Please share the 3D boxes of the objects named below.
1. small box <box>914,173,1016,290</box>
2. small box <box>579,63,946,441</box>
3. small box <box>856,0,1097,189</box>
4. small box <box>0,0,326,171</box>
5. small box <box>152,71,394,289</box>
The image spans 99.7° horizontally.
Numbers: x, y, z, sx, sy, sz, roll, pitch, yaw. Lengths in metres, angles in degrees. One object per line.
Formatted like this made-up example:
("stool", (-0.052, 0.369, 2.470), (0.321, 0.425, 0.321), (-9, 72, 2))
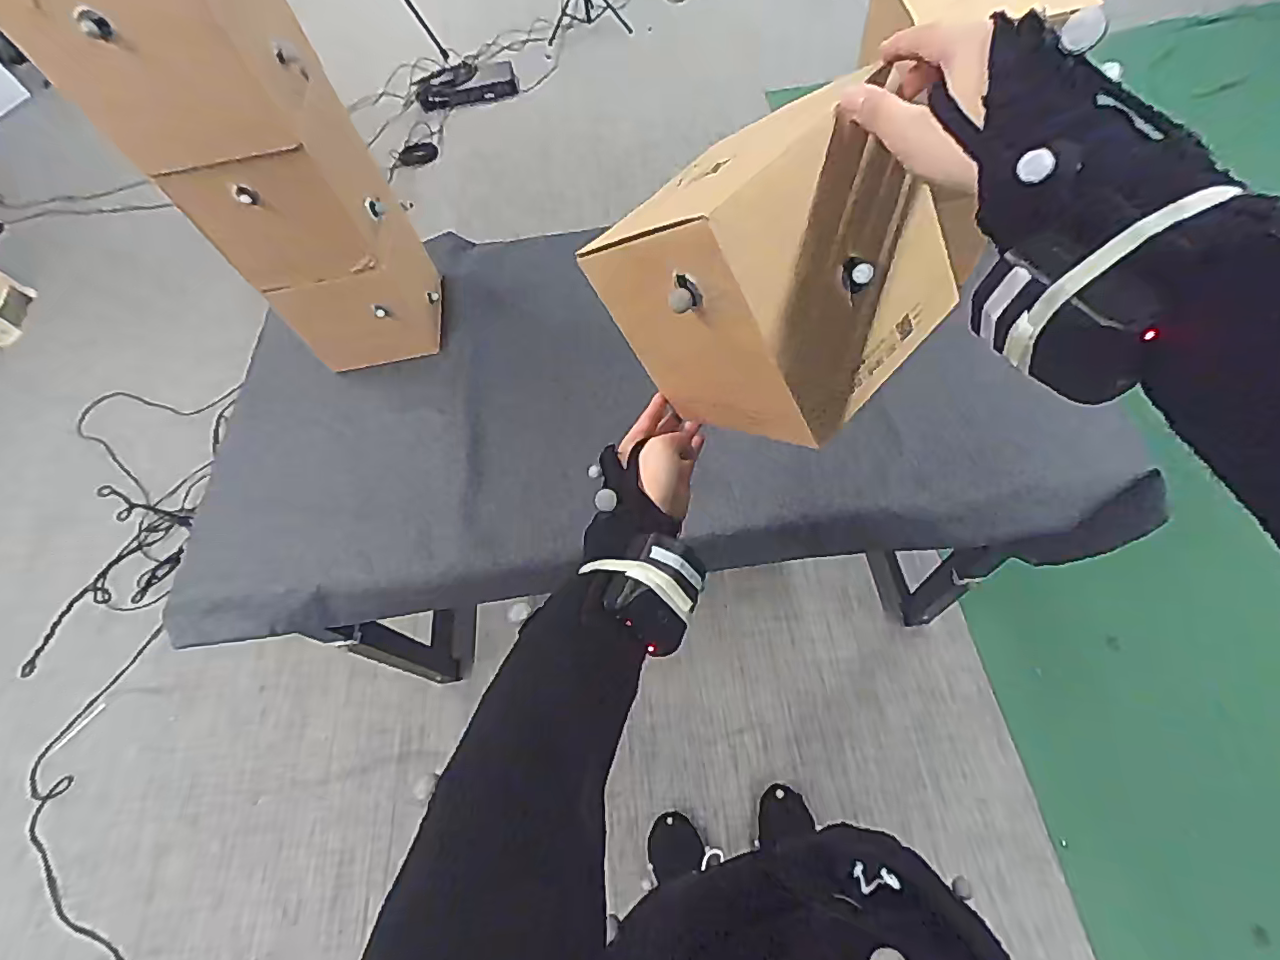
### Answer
("small box", (0.377, -0.387, 0.763), (0.168, 0.176, 0.179), (-6, 62, 5))
("small box", (0.091, -0.149, 0.405), (0.168, 0.176, 0.179), (-43, 29, -13))
("small box", (0.353, -0.459, 0.618), (0.168, 0.176, 0.179), (-6, 62, 5))
("small box", (-0.455, -0.437, 0.534), (0.179, 0.176, 0.168), (-9, 62, 2))
("small box", (-0.441, -0.368, 0.683), (0.179, 0.176, 0.168), (-11, 62, 0))
